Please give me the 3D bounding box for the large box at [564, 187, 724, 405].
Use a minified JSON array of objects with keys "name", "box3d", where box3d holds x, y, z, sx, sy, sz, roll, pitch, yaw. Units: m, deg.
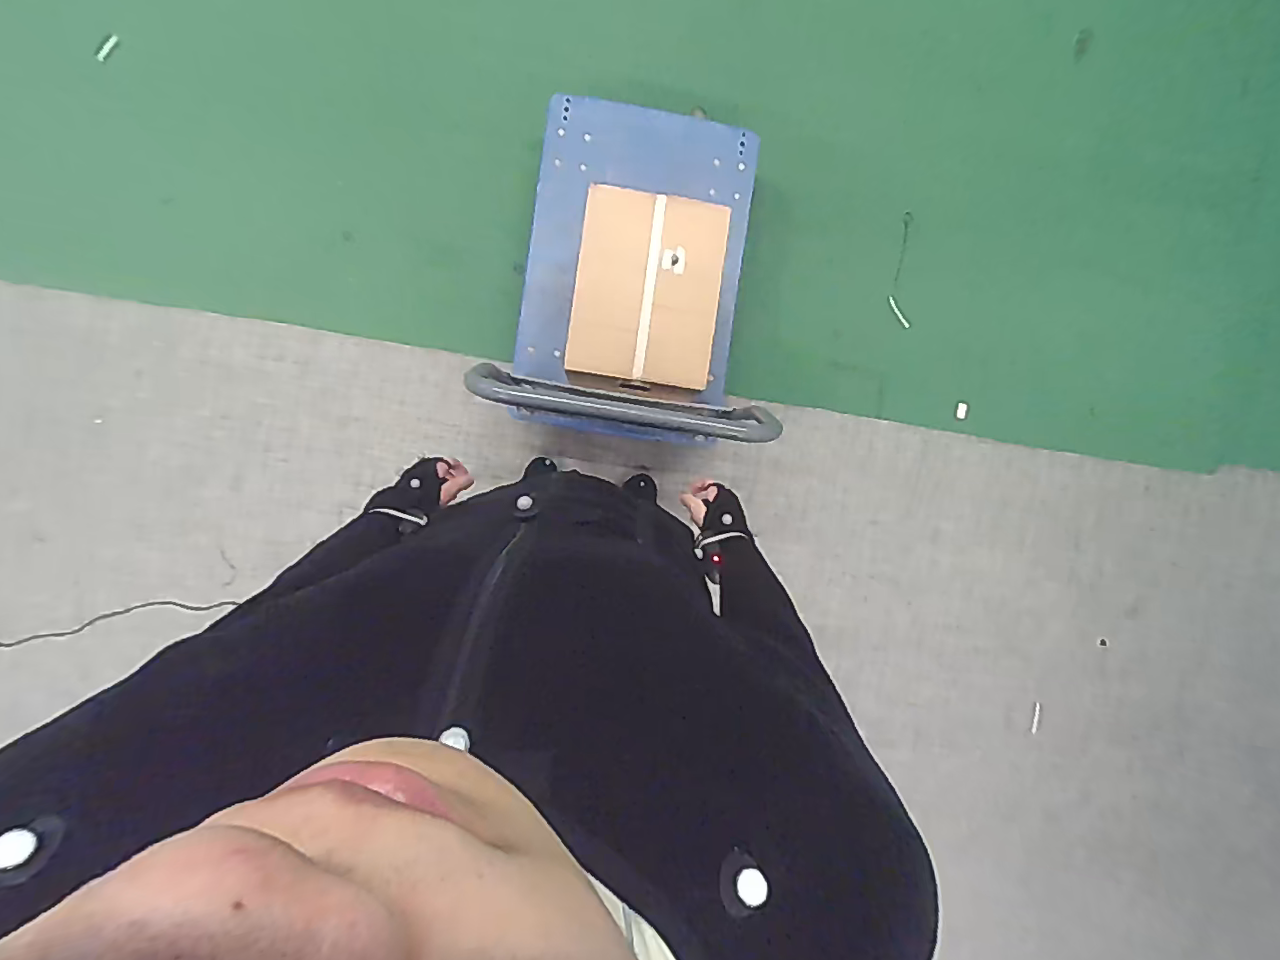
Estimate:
[{"name":"large box","box3d":[0.000,-0.413,1.313,0.320,0.320,0.408,8,90,-5]}]
